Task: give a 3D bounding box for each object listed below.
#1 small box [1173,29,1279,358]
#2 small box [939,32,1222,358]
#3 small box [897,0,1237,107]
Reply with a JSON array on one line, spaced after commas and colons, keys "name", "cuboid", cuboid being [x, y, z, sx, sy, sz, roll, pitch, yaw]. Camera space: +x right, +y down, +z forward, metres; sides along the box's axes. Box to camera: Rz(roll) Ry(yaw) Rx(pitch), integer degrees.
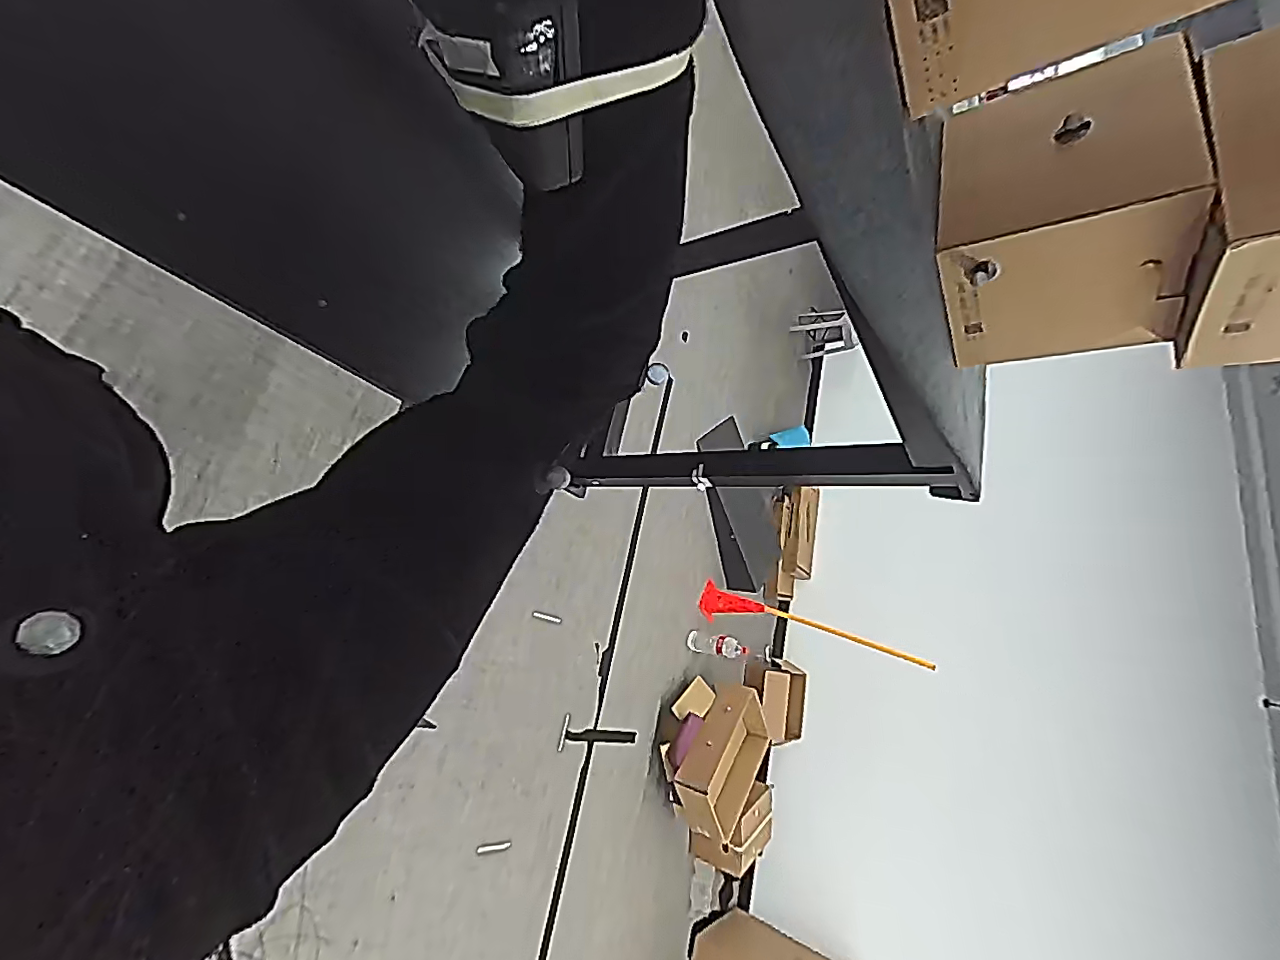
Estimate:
[{"name": "small box", "cuboid": [0.503, -0.207, 0.387, 0.168, 0.176, 0.179, 32, 63, -51]}, {"name": "small box", "cuboid": [0.377, -0.233, 0.491, 0.168, 0.176, 0.179, 40, 57, -47]}, {"name": "small box", "cuboid": [0.215, -0.340, 0.262, 0.168, 0.176, 0.179, 35, 59, -48]}]
